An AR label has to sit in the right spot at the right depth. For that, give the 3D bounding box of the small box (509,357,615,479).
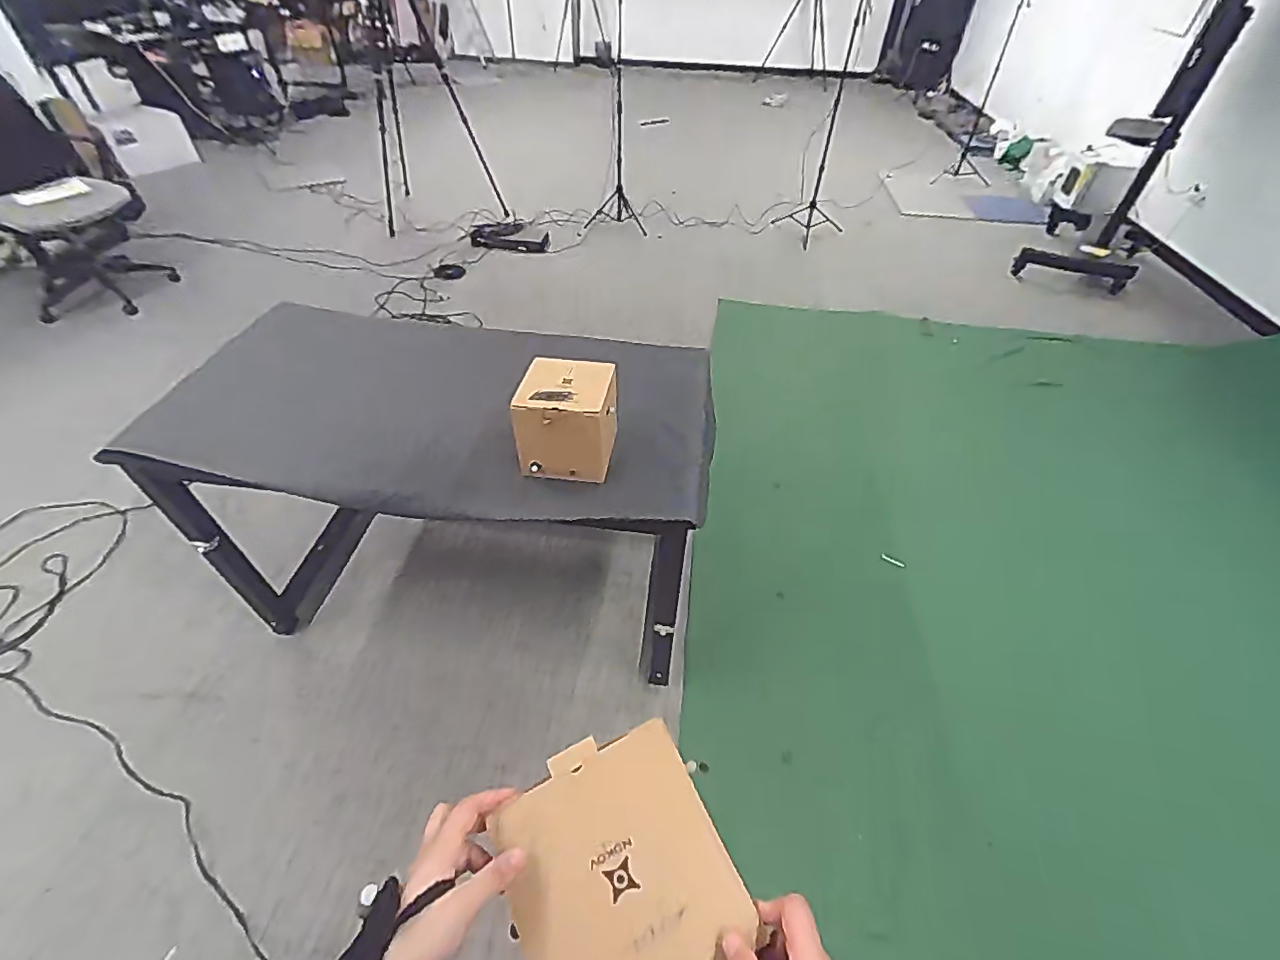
[{"bbox_3d":[-0.142,-0.121,1.062,0.168,0.176,0.179,6,43,5],"label":"small box"}]
